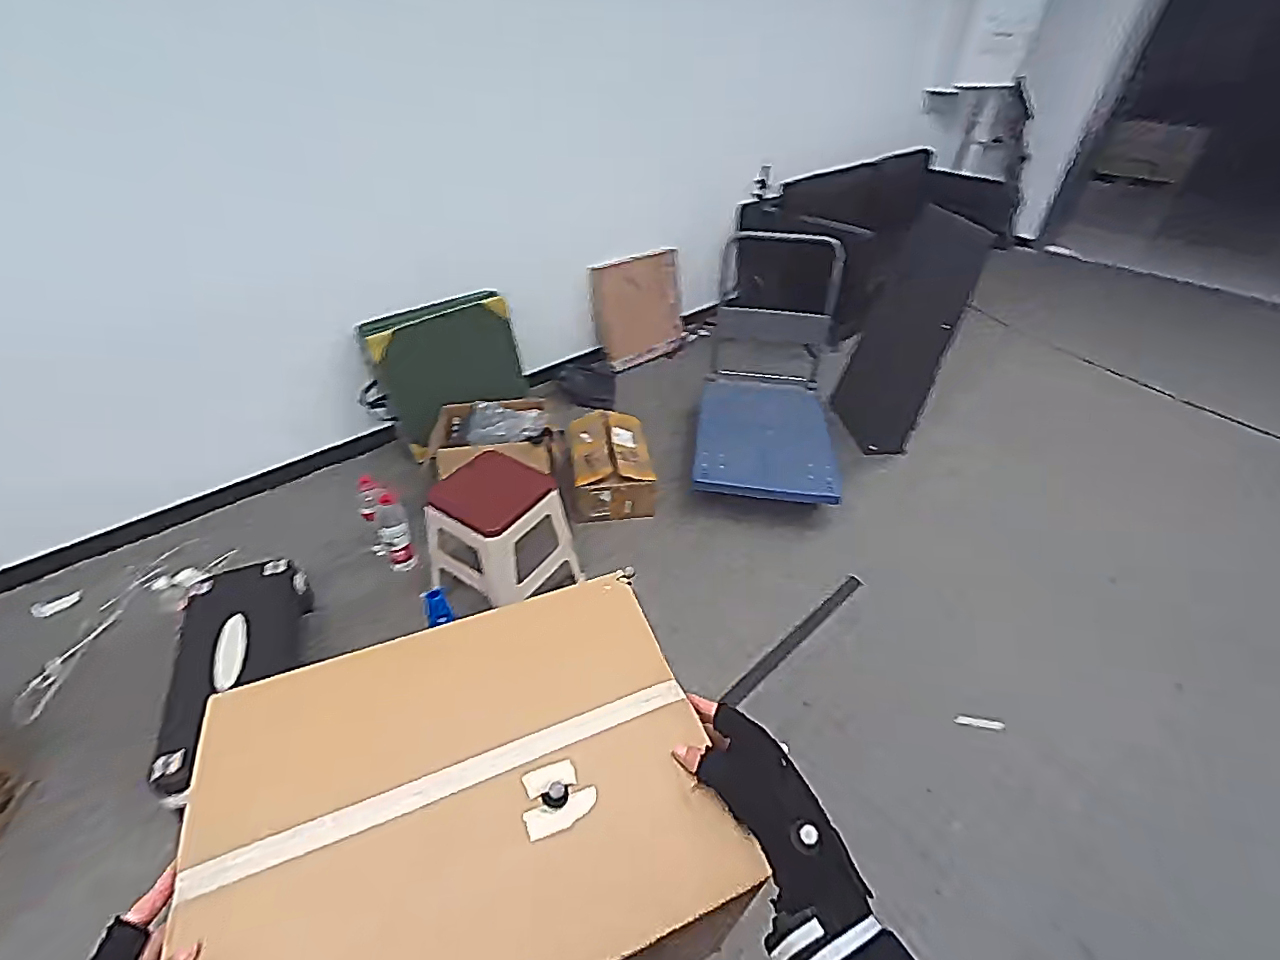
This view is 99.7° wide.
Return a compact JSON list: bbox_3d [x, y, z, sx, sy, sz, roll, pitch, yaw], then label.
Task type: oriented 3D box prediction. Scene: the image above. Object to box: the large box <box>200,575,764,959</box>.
[{"bbox_3d":[-0.145,0.361,0.564,0.408,0.320,0.320,-13,44,-18],"label":"large box"}]
